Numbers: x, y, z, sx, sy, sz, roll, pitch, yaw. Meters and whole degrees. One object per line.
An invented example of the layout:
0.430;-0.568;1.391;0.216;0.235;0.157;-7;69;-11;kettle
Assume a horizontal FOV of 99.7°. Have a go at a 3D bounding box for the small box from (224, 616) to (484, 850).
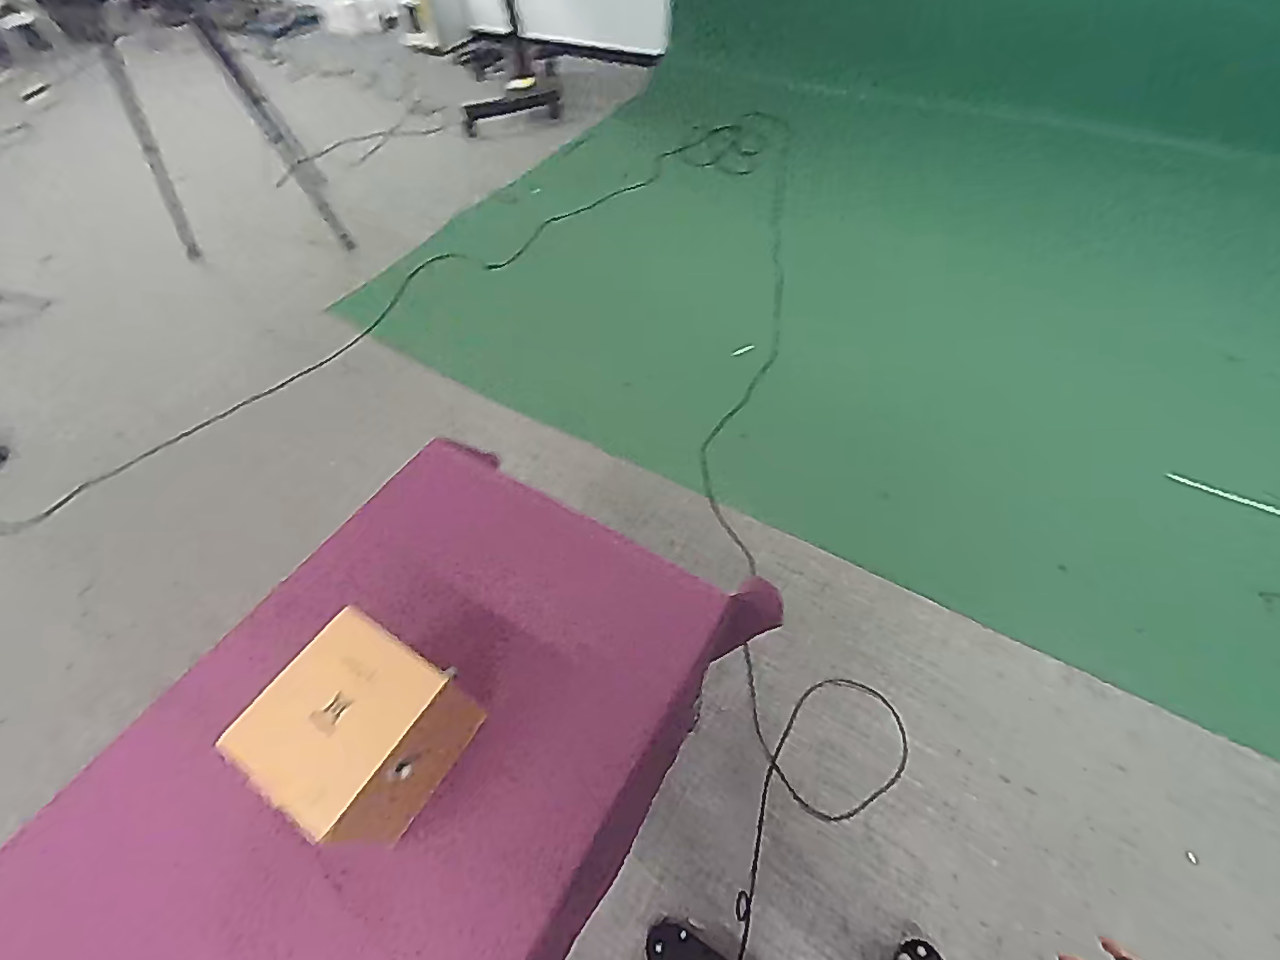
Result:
-0.313;0.299;0.632;0.168;0.176;0.179;25;59;21;small box
